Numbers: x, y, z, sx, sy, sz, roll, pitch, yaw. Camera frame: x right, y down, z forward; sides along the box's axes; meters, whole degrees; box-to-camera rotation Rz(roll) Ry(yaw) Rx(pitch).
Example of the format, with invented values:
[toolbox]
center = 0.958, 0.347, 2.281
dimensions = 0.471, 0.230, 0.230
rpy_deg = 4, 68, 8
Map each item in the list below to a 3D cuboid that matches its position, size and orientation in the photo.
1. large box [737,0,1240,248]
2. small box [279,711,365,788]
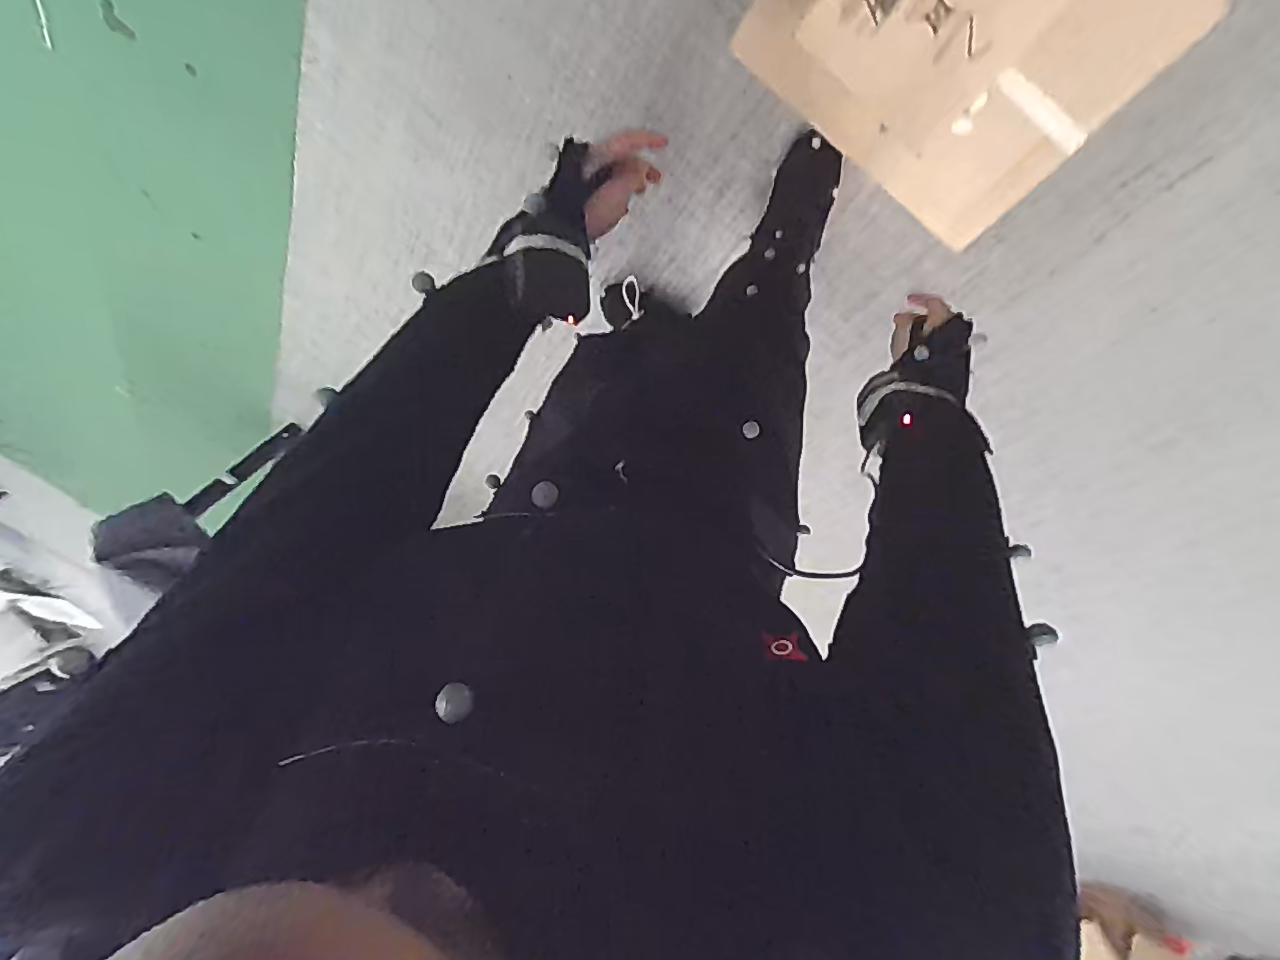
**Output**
[large box]
center = 0.397, -0.596, 0.703
dimensions = 0.408, 0.320, 0.320
rpy_deg = 34, 136, -9
[small box]
center = -1.047, 0.882, 1.780
dimensions = 0.179, 0.176, 0.168
rpy_deg = 34, 137, -8
